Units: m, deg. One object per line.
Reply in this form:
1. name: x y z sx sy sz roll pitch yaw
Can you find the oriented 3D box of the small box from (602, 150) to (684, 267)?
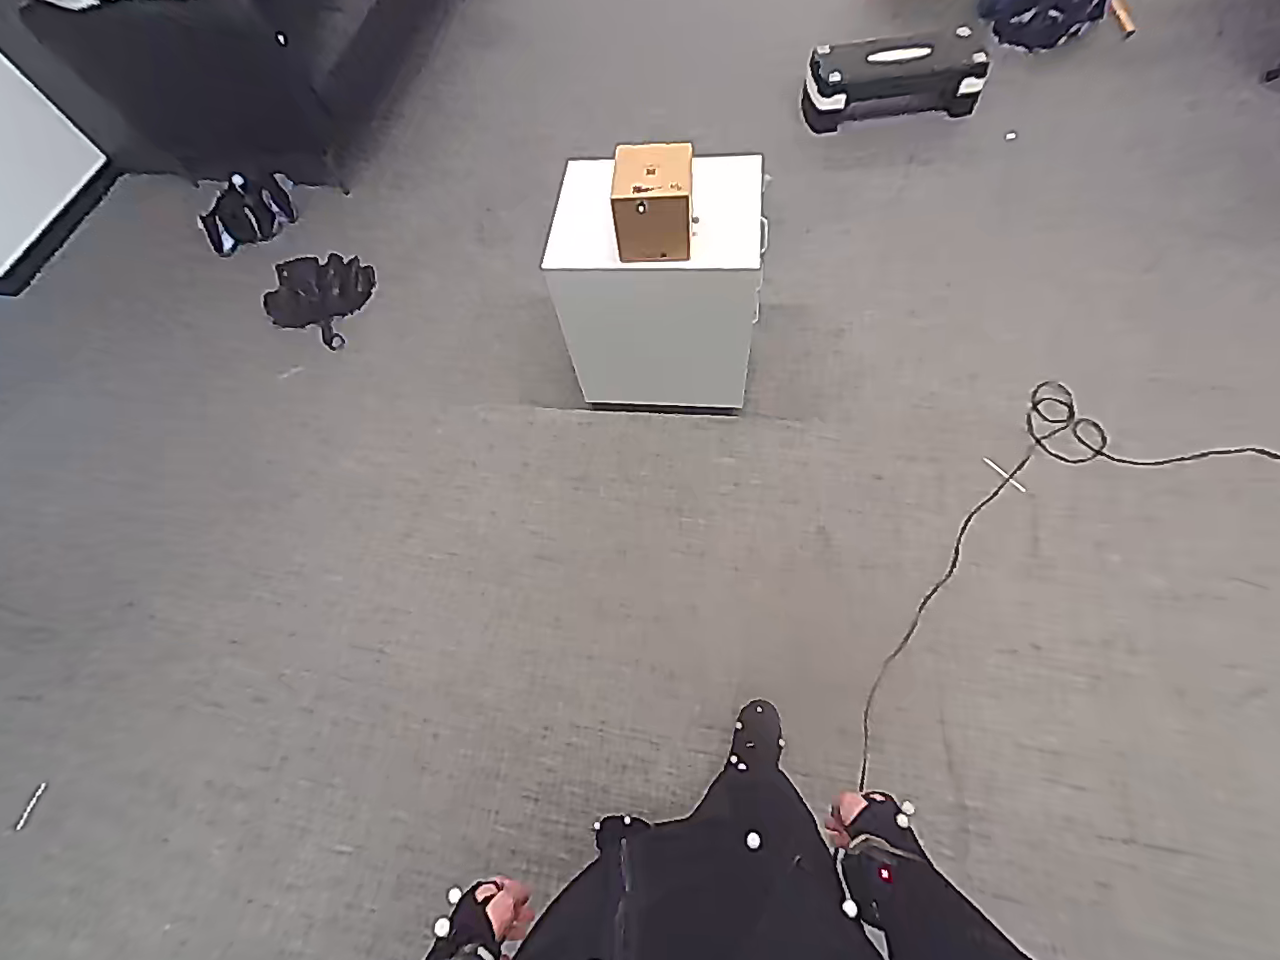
1. small box: 0.013 -0.608 1.219 0.168 0.176 0.179 0 62 6
